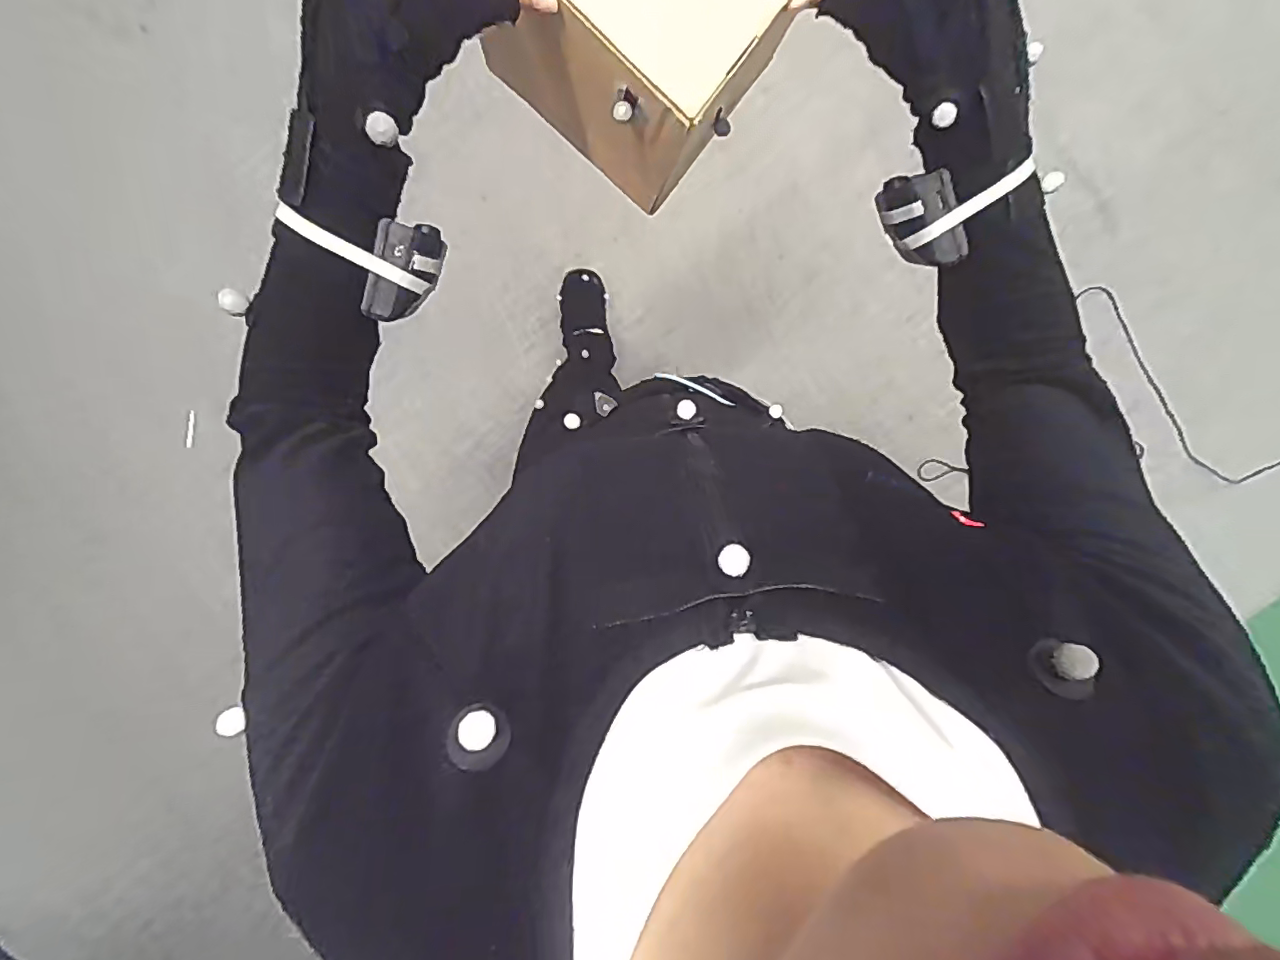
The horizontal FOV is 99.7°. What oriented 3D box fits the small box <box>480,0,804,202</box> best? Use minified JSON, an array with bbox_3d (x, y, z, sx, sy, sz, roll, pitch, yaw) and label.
[{"bbox_3d":[0.000,-0.336,0.377,0.179,0.176,0.168,38,92,-13],"label":"small box"}]
